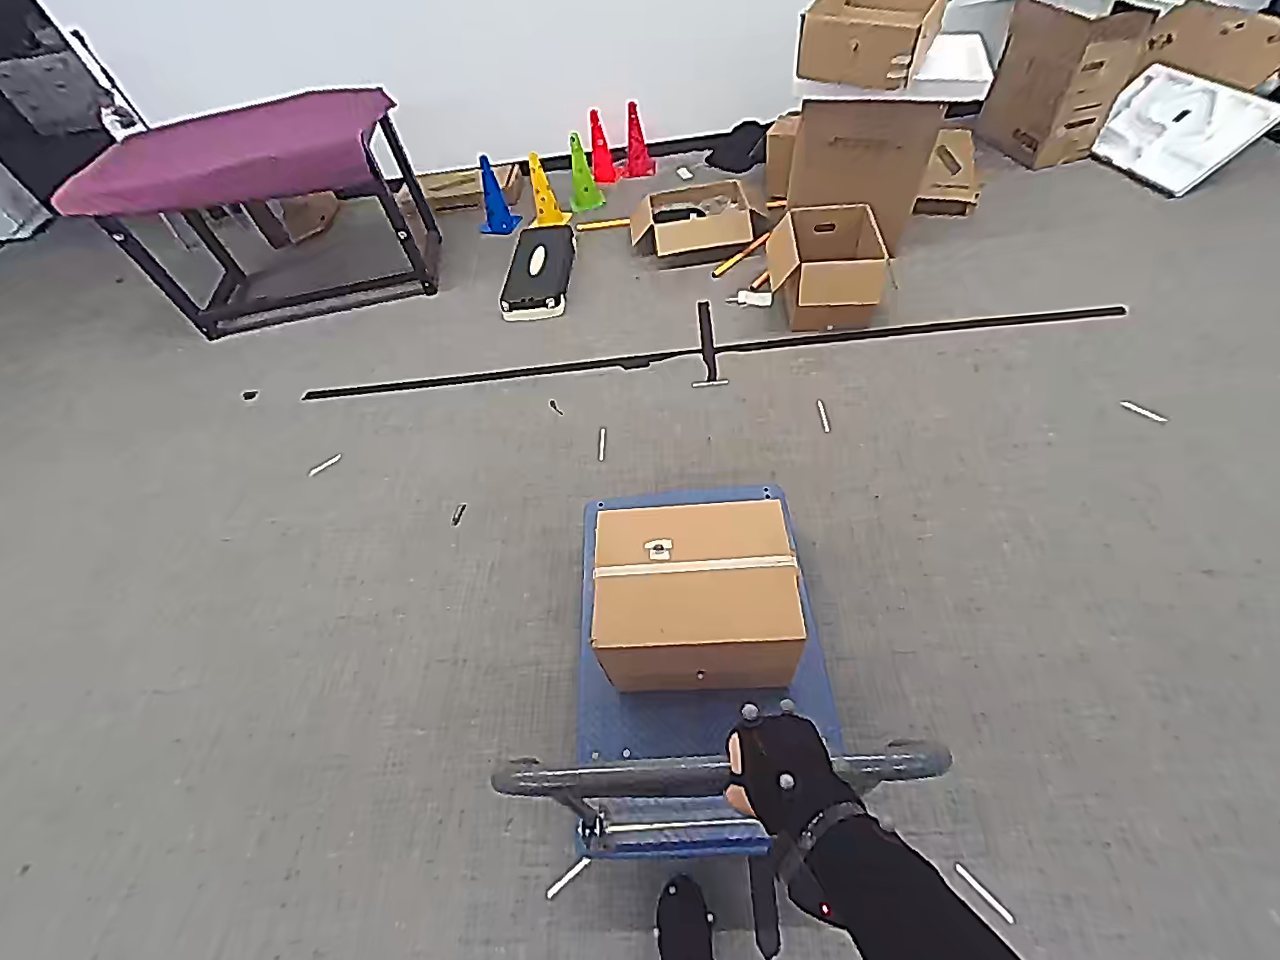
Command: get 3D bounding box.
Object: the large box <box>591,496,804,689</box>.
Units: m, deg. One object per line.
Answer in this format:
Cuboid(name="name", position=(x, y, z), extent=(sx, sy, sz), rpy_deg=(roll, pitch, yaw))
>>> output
Cuboid(name="large box", position=(0.122, 0.262, 1.207), extent=(0.408, 0.320, 0.320), rpy_deg=(-5, 52, 6))
